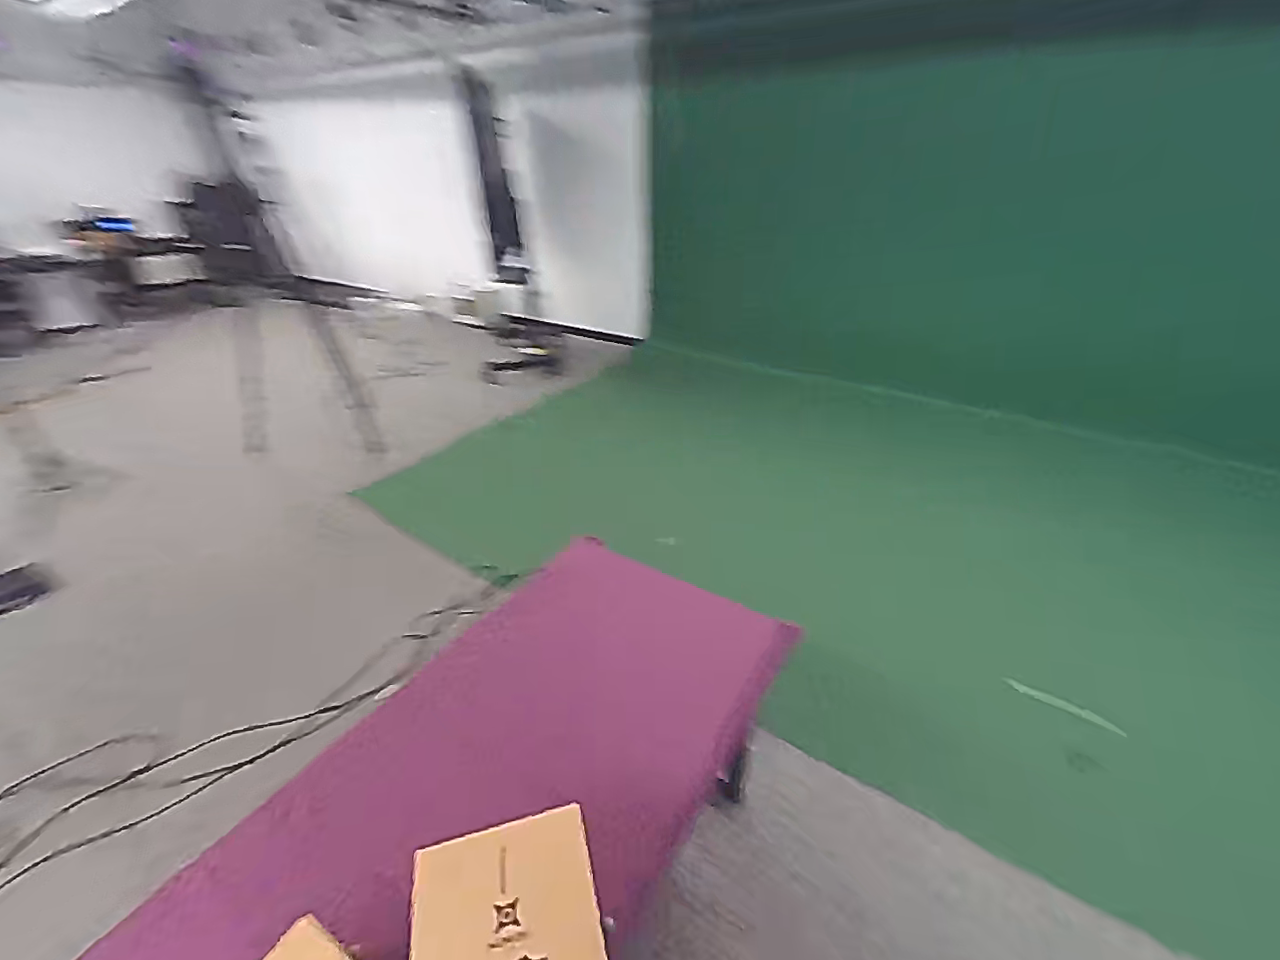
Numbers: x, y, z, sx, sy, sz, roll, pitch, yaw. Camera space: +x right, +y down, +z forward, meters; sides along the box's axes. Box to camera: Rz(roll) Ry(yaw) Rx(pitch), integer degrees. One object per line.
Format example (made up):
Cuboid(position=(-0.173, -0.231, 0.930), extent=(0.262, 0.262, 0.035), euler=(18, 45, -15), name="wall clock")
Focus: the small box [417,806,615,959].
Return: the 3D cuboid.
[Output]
Cuboid(position=(-0.111, 0.466, 0.528), extent=(0.168, 0.176, 0.179), euler=(-10, 35, -12), name="small box")
